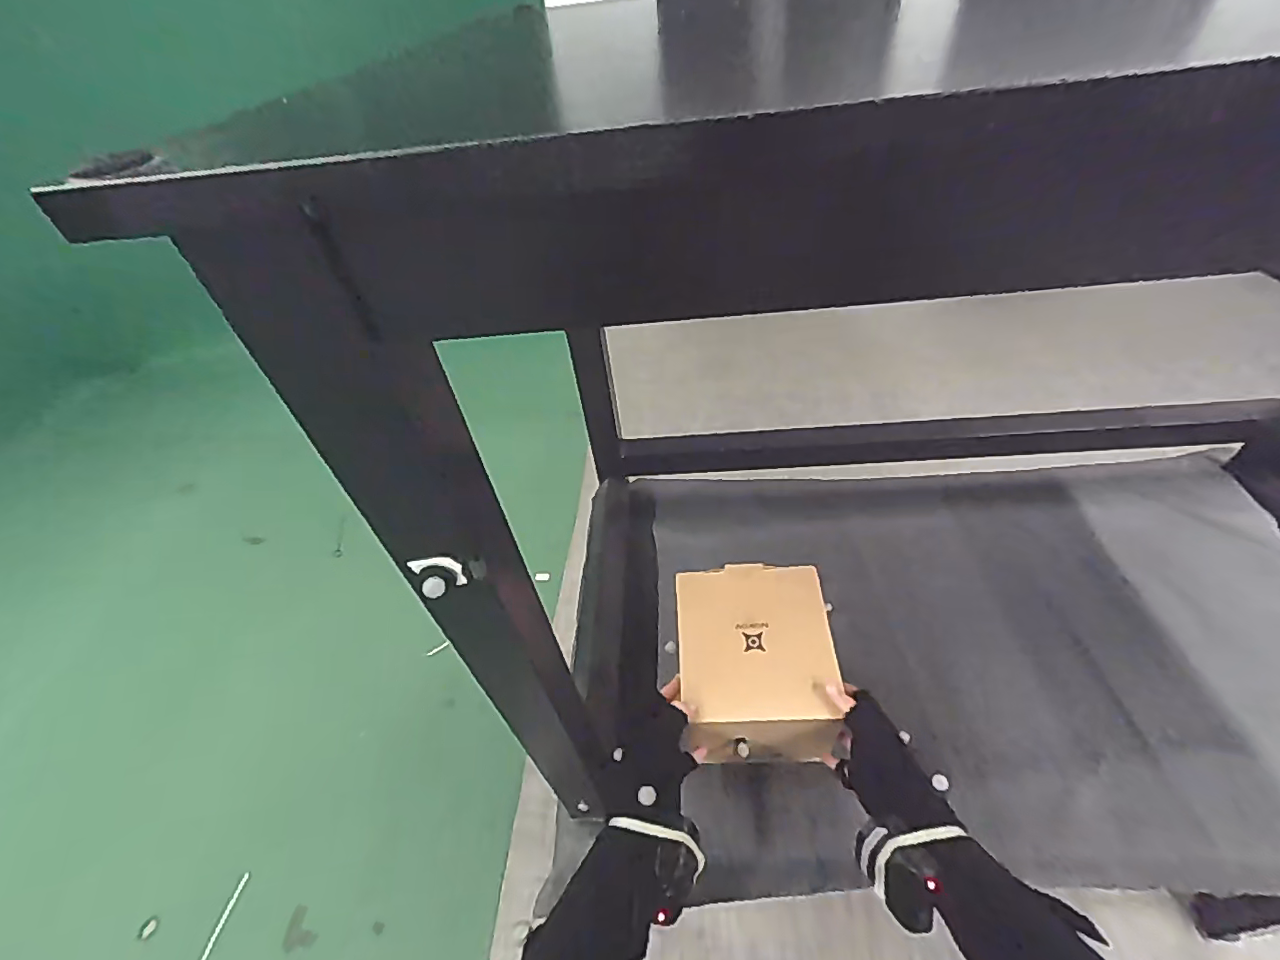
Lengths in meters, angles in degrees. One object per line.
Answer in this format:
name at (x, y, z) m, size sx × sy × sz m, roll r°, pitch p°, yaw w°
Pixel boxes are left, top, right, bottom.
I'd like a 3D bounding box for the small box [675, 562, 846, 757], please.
small box at (0.133, 0.220, 0.645) m, size 0.168 × 0.176 × 0.179 m, roll -5°, pitch 48°, yaw 6°
